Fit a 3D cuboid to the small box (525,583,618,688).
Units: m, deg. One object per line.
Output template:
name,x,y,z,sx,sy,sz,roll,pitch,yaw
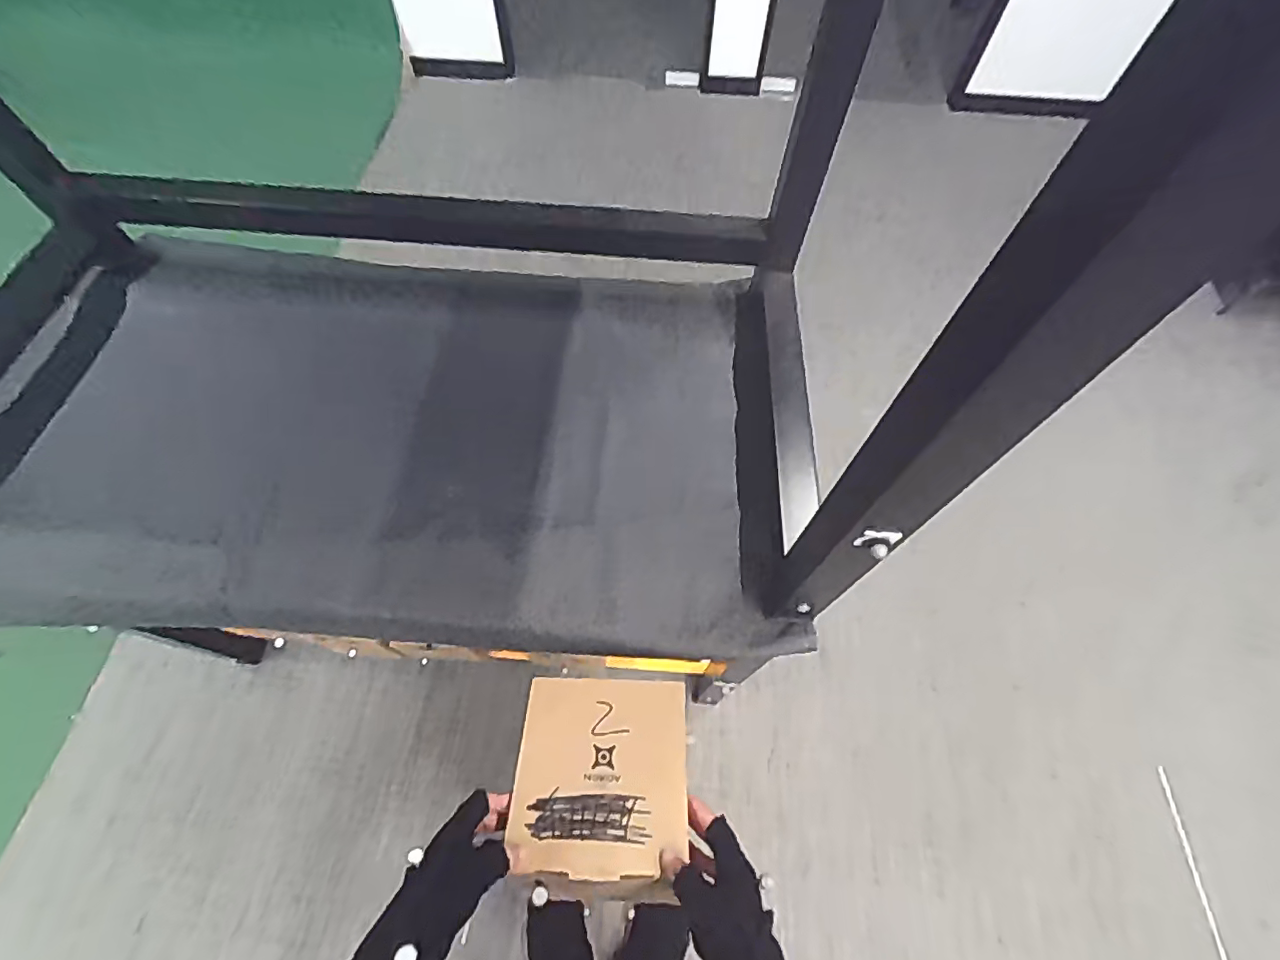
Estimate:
small box,-0.142,0.349,1.202,0.168,0.176,0.179,8,62,5
